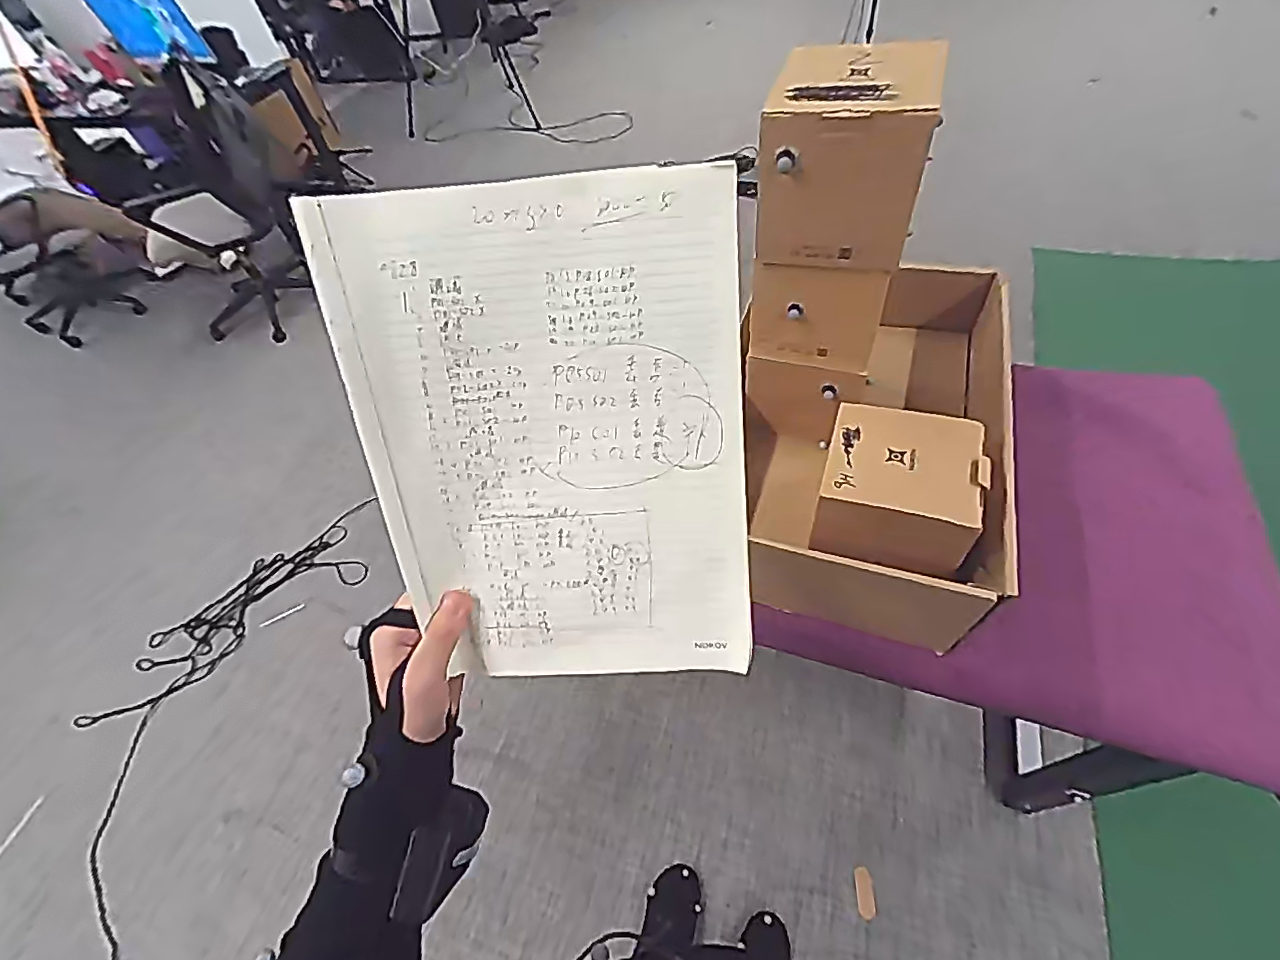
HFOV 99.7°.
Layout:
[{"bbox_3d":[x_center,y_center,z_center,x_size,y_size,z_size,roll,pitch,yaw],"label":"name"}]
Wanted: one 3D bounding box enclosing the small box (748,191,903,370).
[{"bbox_3d":[0.257,-0.279,0.766,0.168,0.176,0.179,14,58,19],"label":"small box"}]
